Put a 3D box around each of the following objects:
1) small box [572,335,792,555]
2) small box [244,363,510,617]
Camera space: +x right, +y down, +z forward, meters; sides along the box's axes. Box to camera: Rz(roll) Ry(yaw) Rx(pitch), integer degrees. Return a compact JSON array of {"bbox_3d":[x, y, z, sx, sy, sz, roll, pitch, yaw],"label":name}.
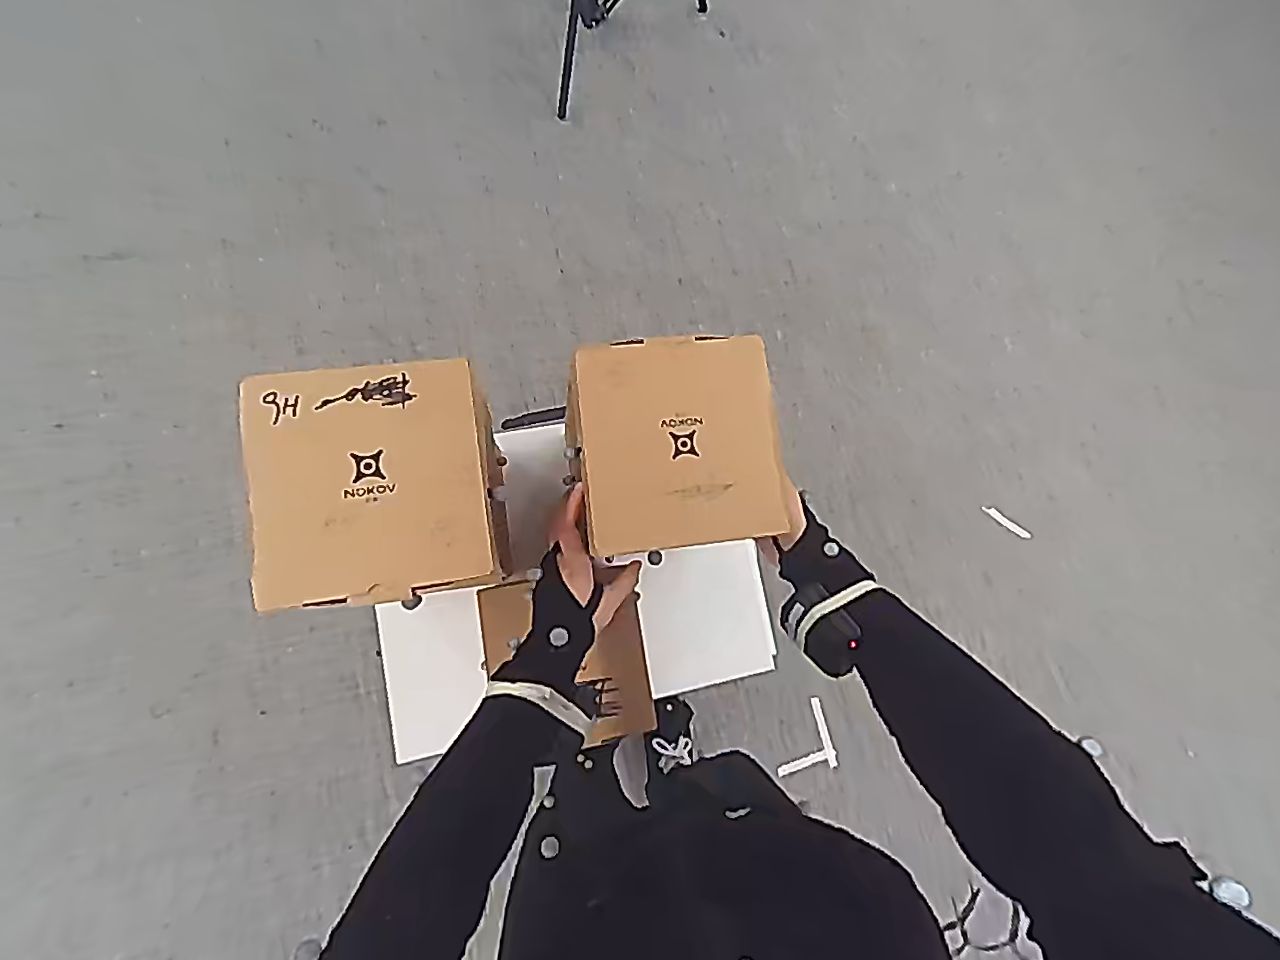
[{"bbox_3d":[0.025,-0.023,0.524,0.168,0.176,0.179,-6,85,-9],"label":"small box"},{"bbox_3d":[-0.212,0.012,0.481,0.168,0.176,0.179,-8,84,-11],"label":"small box"}]
